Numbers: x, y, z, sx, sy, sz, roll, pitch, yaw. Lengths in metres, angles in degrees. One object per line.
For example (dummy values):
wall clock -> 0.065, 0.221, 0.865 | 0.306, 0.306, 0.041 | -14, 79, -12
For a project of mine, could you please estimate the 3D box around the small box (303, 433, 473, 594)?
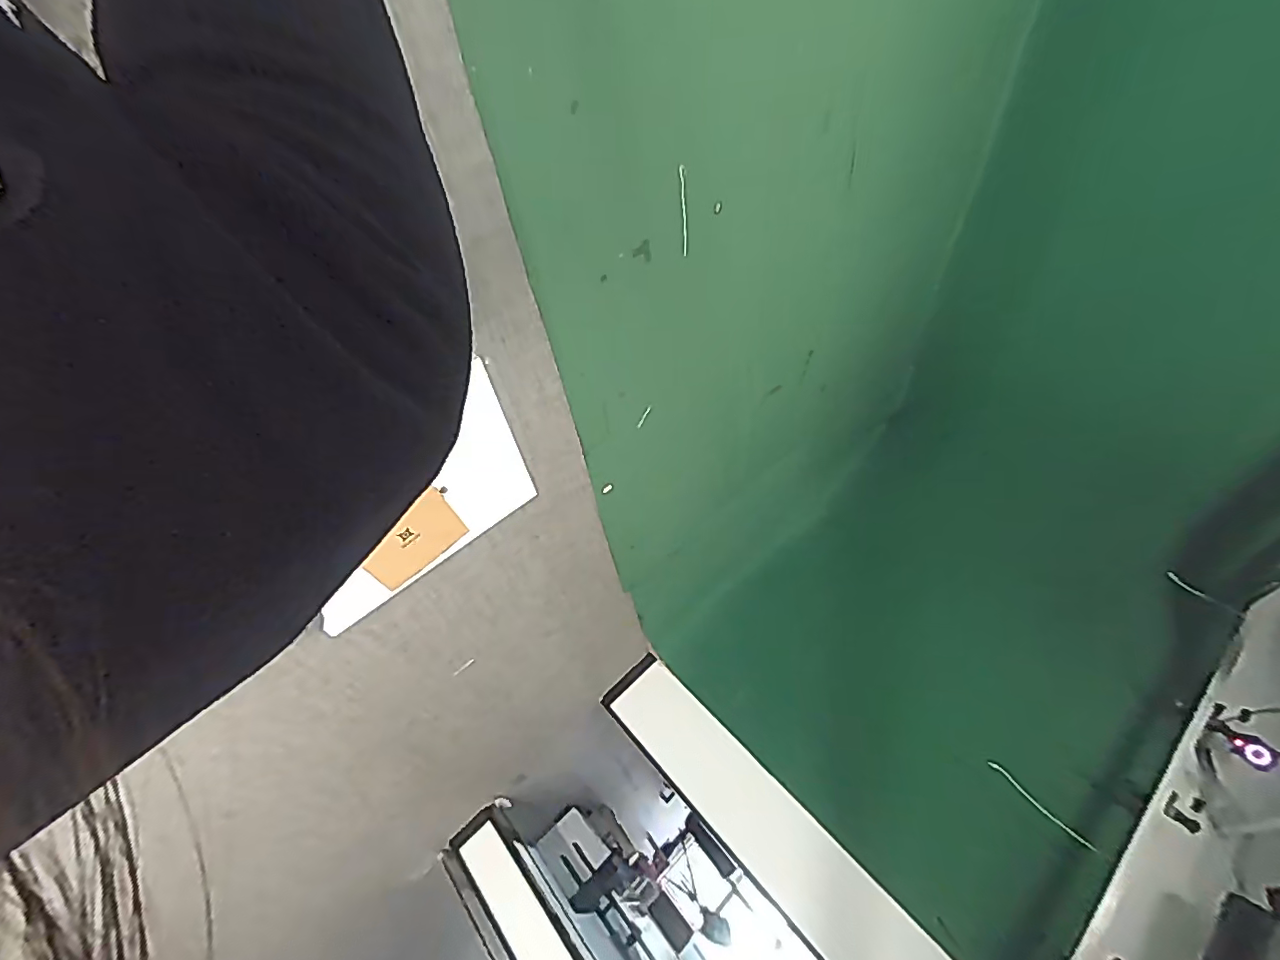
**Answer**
small box -> -0.421, 0.052, 0.912 | 0.168, 0.176, 0.179 | -41, 144, -17
